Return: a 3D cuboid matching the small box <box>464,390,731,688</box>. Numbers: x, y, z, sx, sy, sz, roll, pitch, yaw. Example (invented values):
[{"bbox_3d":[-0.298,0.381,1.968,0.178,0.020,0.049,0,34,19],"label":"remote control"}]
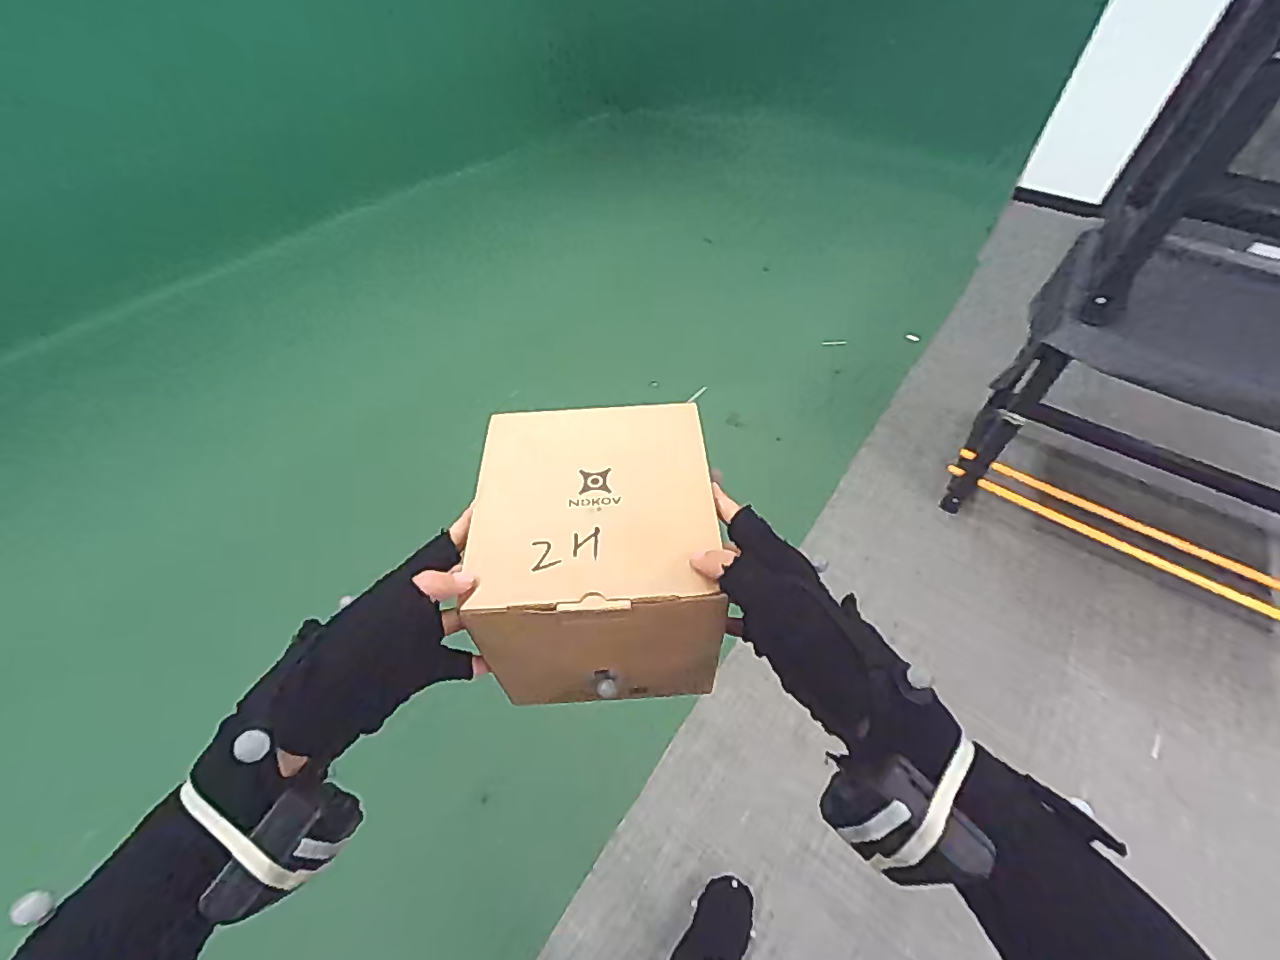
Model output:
[{"bbox_3d":[-0.026,0.049,0.440,0.168,0.176,0.179,-4,50,0],"label":"small box"}]
